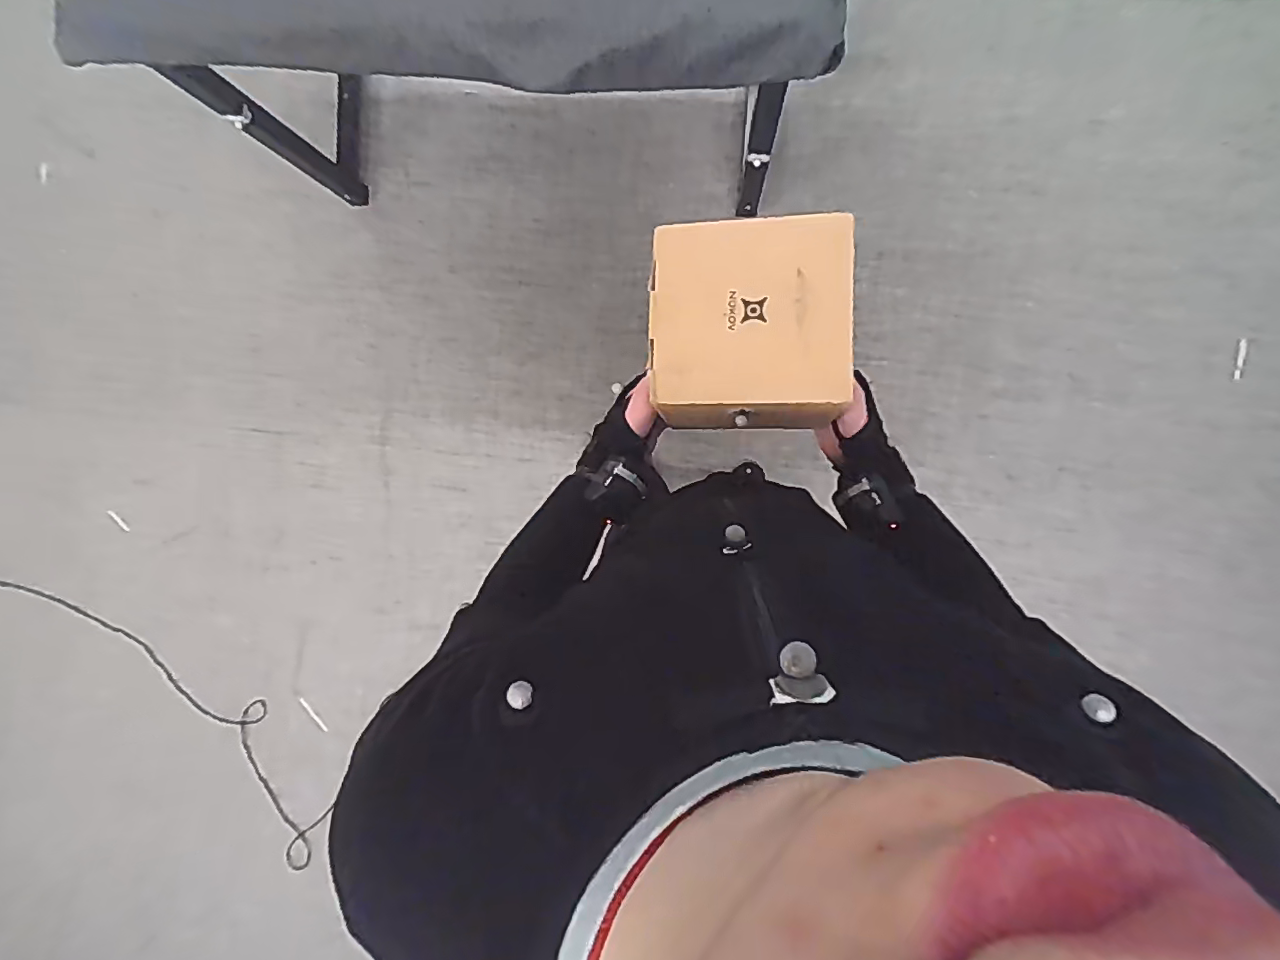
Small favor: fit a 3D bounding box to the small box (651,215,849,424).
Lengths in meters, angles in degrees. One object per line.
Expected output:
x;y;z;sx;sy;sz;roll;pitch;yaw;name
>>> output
0.111;-0.150;0.565;0.179;0.176;0.168;0;89;9;small box
